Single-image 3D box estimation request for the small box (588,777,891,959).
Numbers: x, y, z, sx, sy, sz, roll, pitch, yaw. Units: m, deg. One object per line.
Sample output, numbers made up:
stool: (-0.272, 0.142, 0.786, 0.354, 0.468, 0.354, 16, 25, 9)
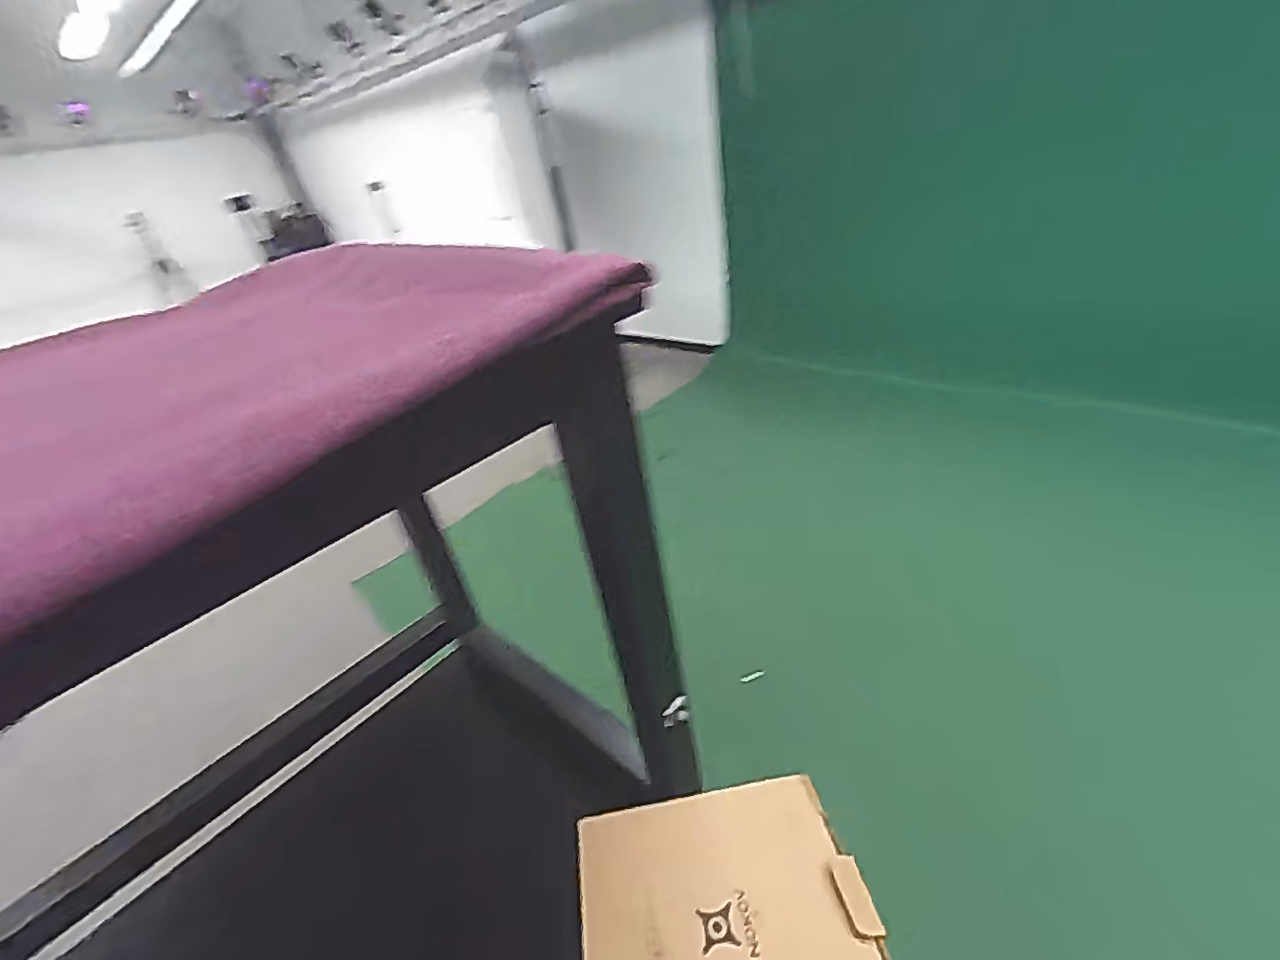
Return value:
small box: (0.065, 0.346, 0.373, 0.179, 0.176, 0.168, -10, 28, -3)
